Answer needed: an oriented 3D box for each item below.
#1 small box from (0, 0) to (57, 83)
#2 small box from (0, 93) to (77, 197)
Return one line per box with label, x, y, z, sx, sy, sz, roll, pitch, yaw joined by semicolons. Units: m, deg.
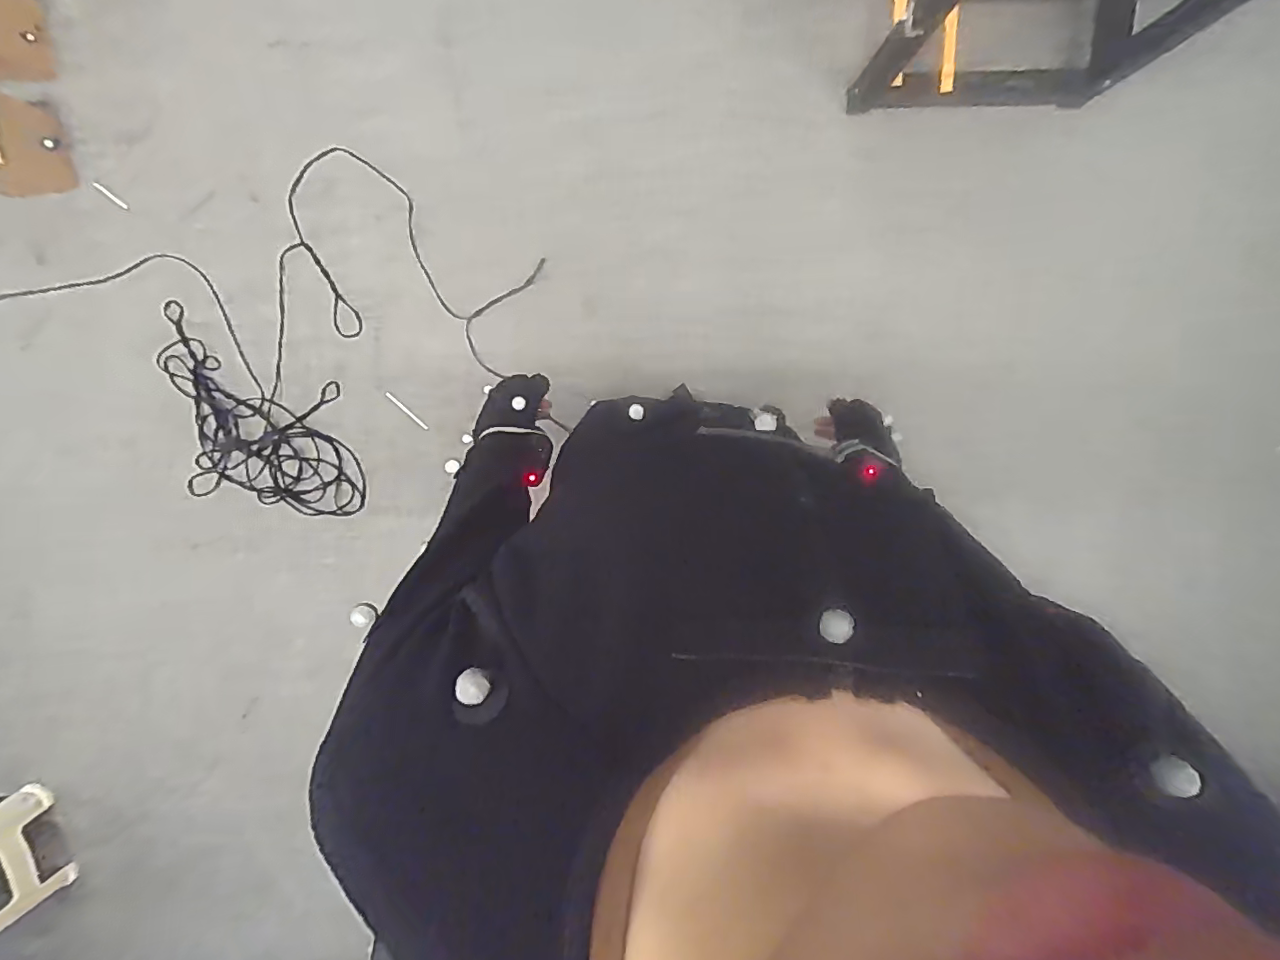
small box;-1.498;-1.029;1.219;0.179;0.176;0.168;0;100;-1
small box;-1.499;-0.781;1.260;0.179;0.176;0.168;-8;101;1
